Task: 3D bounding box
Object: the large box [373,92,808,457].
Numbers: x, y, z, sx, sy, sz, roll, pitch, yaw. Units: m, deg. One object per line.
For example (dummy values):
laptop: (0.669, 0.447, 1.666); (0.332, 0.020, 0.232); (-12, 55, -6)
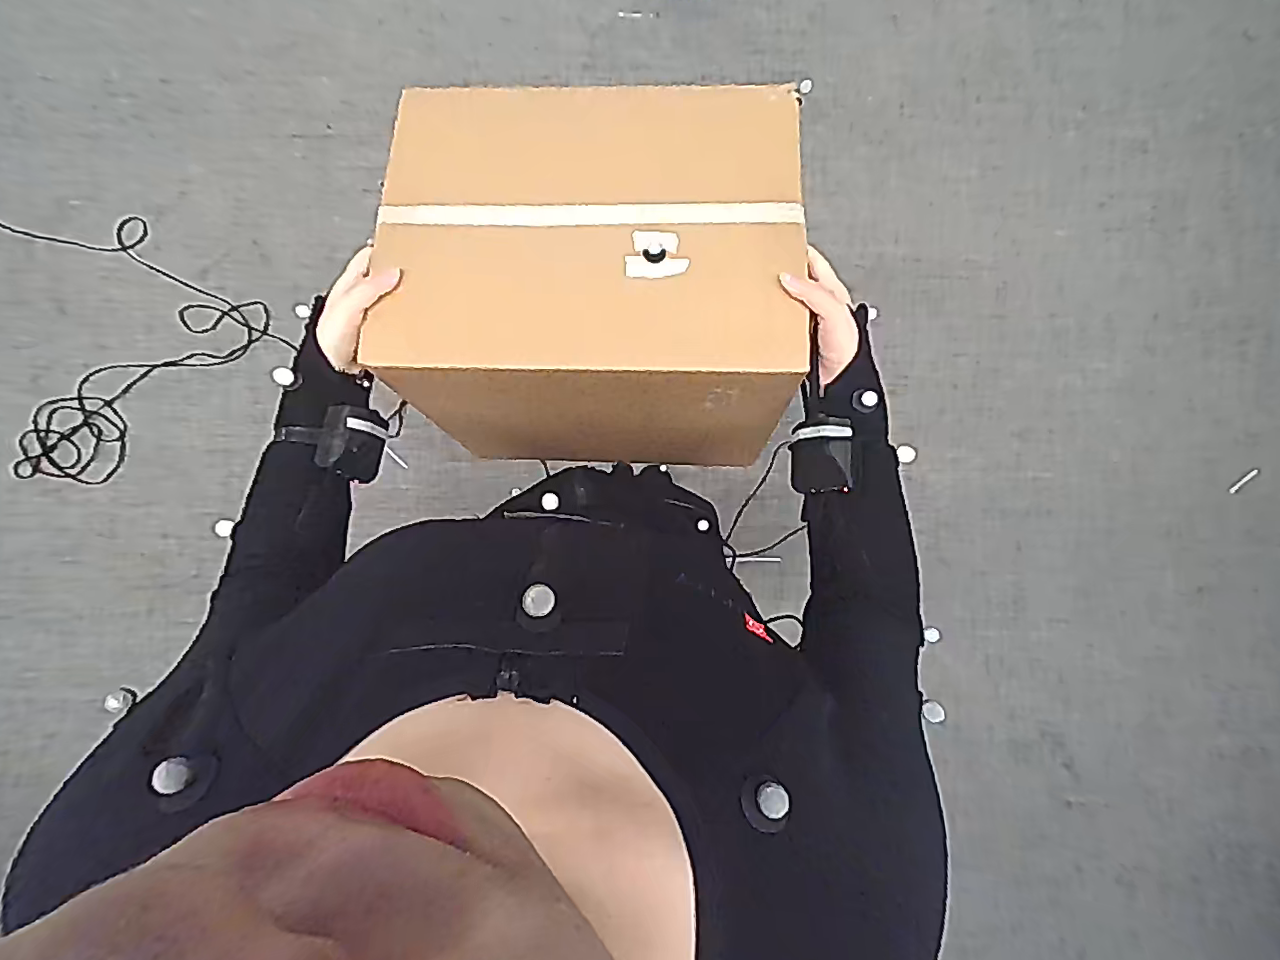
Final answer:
large box: (-0.042, -0.217, 0.666); (0.408, 0.320, 0.320); (2, 77, 2)
